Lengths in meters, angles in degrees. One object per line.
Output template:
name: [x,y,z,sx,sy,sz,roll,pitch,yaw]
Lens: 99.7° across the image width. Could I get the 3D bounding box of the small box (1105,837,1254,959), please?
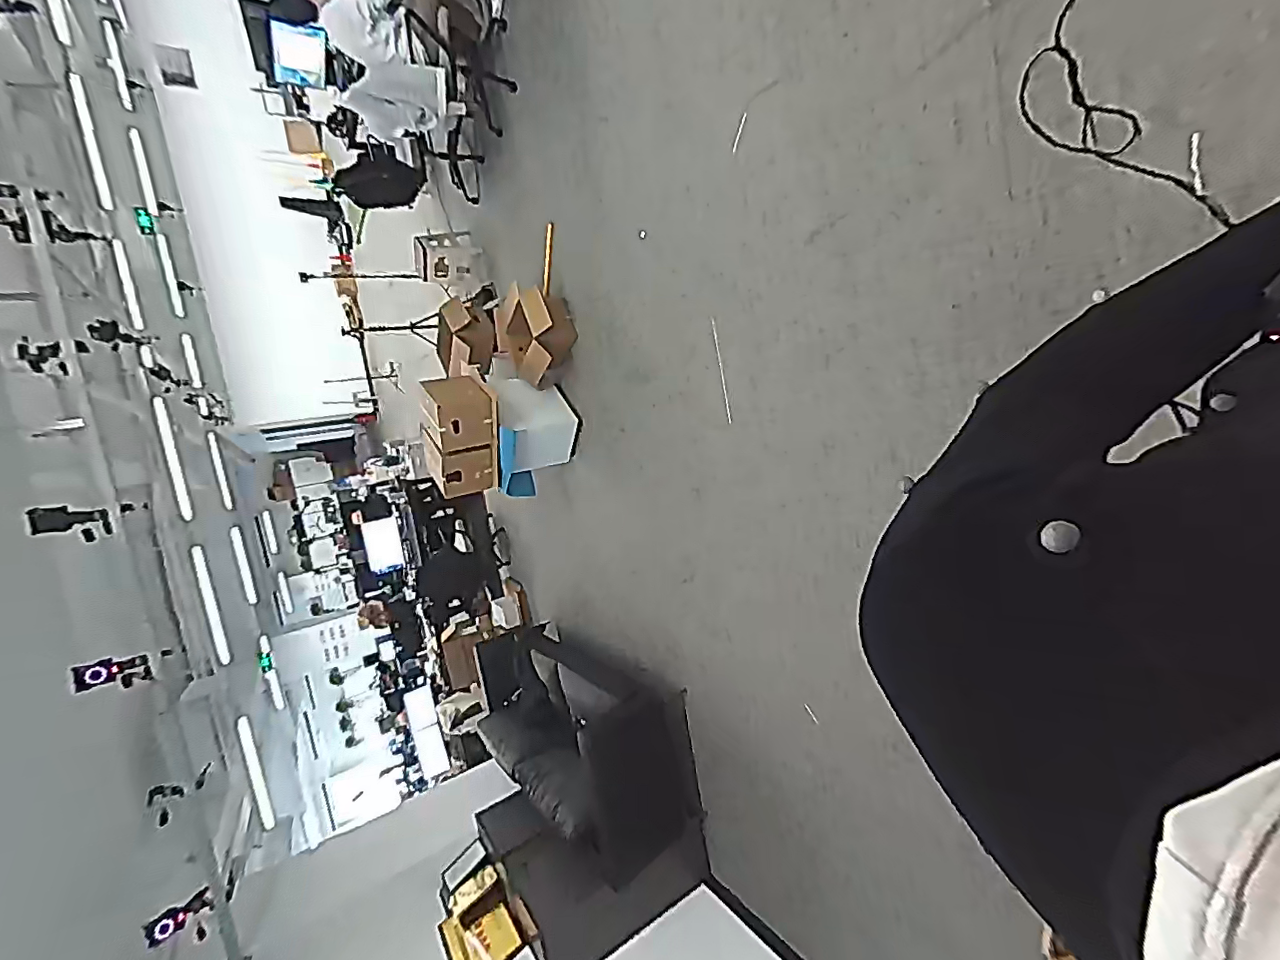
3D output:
small box: [1.011,0.832,1.016,0.168,0.176,0.179,10,110,55]
